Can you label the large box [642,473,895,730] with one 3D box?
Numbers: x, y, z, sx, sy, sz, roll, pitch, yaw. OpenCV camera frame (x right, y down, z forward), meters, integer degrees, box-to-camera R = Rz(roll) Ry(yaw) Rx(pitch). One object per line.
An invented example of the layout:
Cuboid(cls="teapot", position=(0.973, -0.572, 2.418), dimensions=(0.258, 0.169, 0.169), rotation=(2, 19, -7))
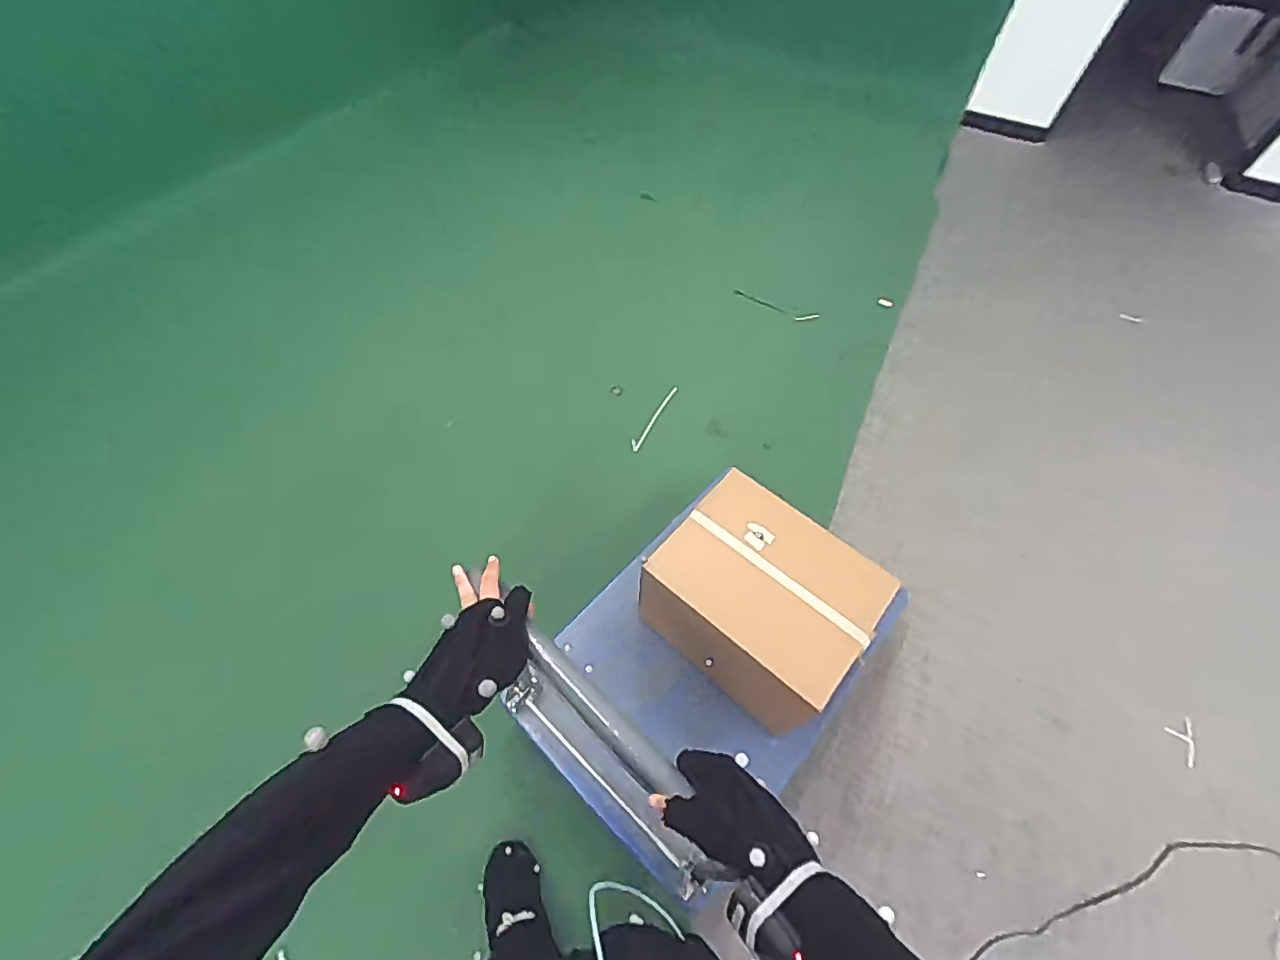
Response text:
Cuboid(cls="large box", position=(0.252, 0.267, 1.180), dimensions=(0.408, 0.320, 0.320), rotation=(37, 63, 20))
